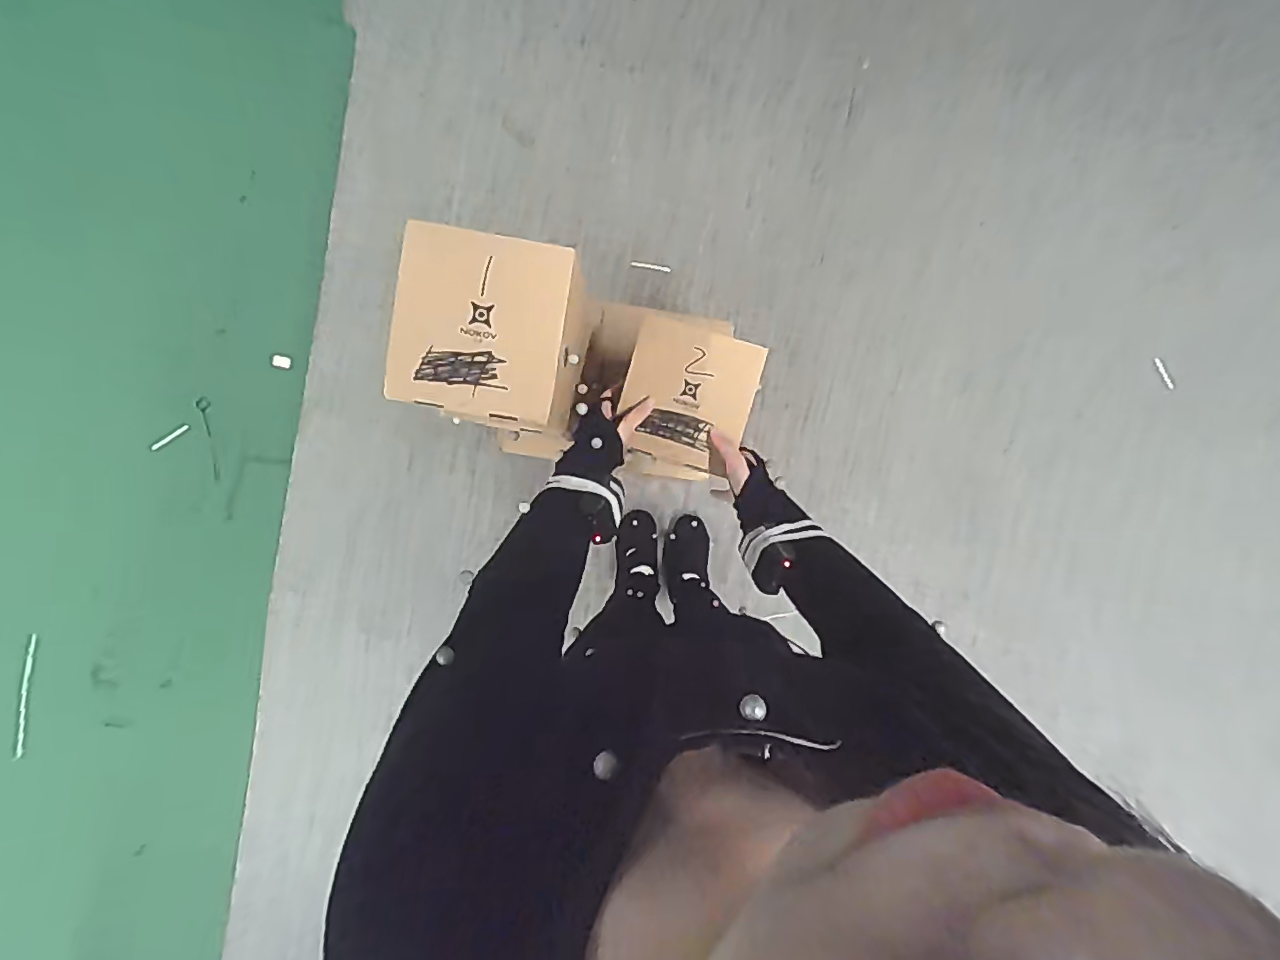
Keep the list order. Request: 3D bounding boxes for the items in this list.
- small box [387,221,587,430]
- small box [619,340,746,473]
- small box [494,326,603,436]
[{"bbox_3d":[-0.155,-0.154,0.603,0.168,0.176,0.179,9,92,-2],"label":"small box"},{"bbox_3d":[0.068,-0.118,0.929,0.168,0.176,0.179,16,92,1],"label":"small box"},{"bbox_3d":[-0.160,-0.174,0.931,0.168,0.176,0.179,11,93,-2],"label":"small box"}]
